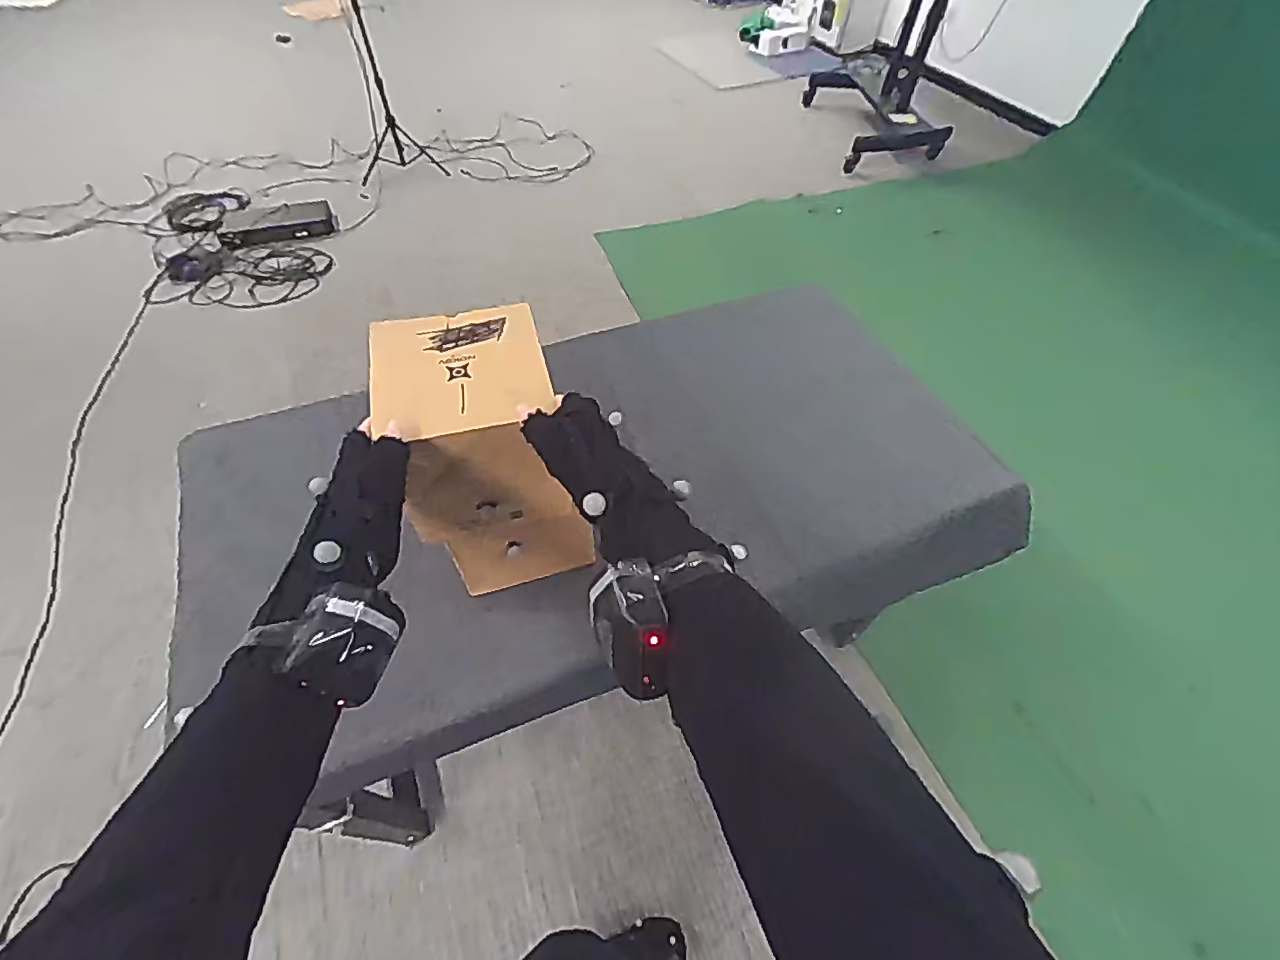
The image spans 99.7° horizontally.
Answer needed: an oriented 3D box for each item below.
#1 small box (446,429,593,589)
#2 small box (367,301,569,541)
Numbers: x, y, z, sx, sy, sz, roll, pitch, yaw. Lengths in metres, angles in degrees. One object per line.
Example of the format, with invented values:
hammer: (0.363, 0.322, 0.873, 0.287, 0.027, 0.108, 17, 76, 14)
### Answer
small box: (-0.172, 0.025, 0.728, 0.179, 0.176, 0.168, -15, 55, -11)
small box: (-0.180, -0.063, 0.587, 0.168, 0.176, 0.179, -15, 54, -12)
